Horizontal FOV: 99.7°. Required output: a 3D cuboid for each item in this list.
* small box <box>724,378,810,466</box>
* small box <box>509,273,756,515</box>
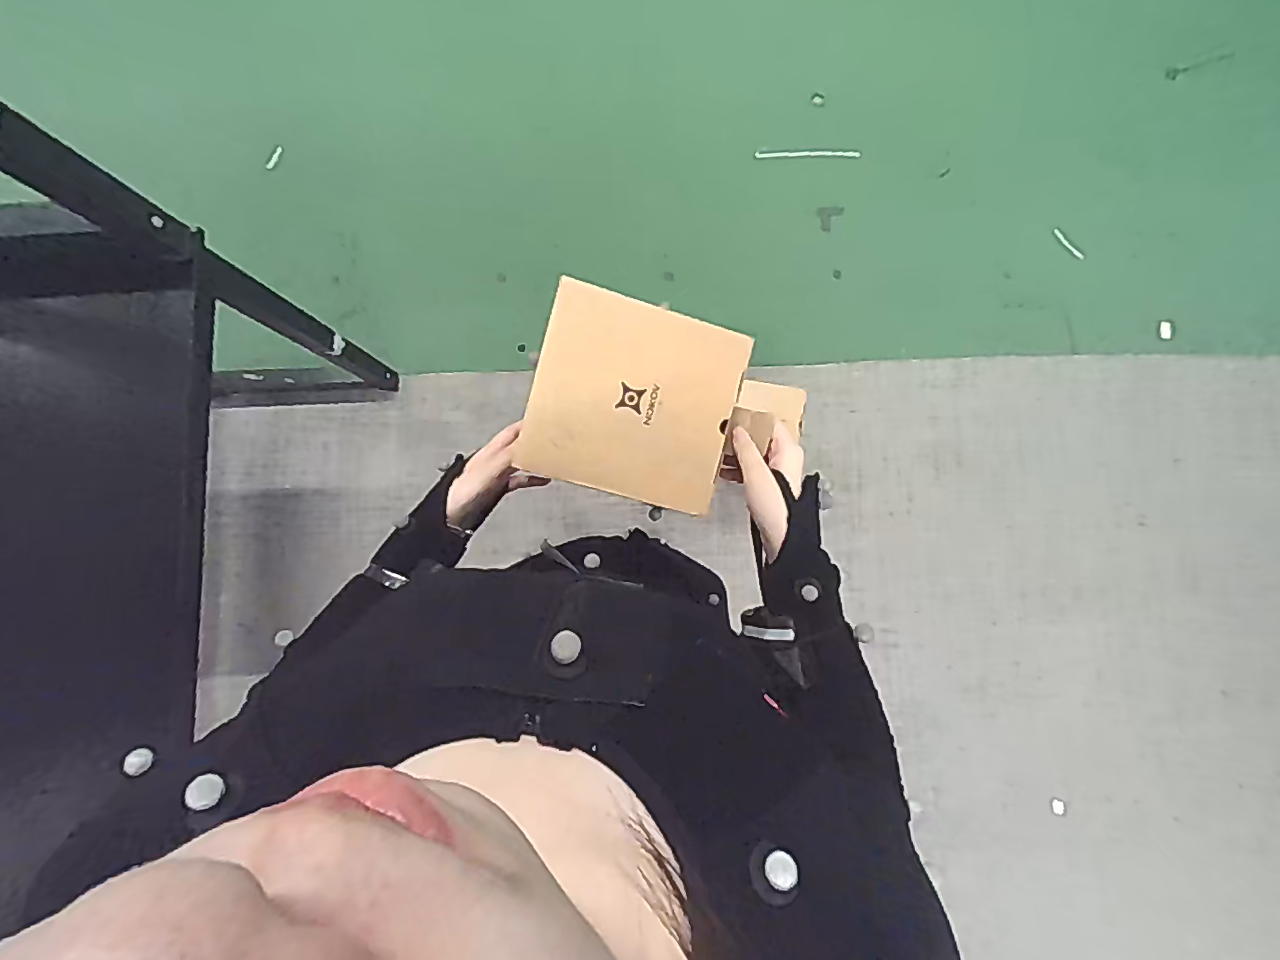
[{"bbox_3d":[0.285,-0.131,1.287,0.179,0.176,0.168,9,85,1],"label":"small box"},{"bbox_3d":[-0.016,-0.070,0.525,0.179,0.176,0.168,14,90,-10],"label":"small box"}]
